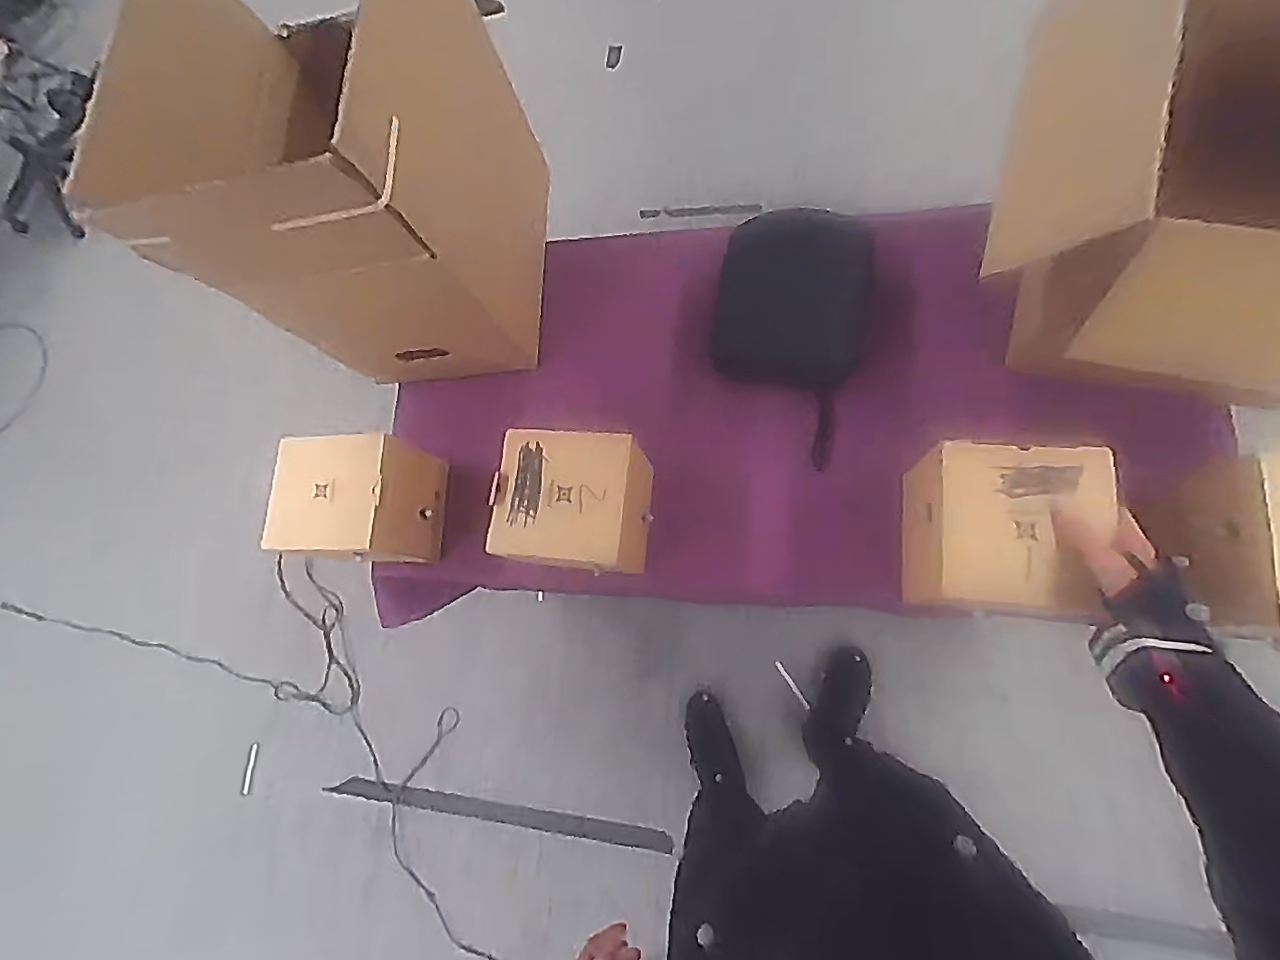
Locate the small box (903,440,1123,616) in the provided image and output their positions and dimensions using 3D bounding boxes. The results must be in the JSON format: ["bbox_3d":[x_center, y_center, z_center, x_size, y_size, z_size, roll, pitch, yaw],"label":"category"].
[{"bbox_3d":[0.420,0.063,0.641,0.168,0.176,0.179,4,78,13],"label":"small box"}]

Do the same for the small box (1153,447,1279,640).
[{"bbox_3d":[0.697,0.077,0.574,0.168,0.176,0.179,4,77,14],"label":"small box"}]

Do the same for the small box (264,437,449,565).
[{"bbox_3d":[-0.423,0.041,0.831,0.179,0.176,0.168,-2,76,10],"label":"small box"}]
